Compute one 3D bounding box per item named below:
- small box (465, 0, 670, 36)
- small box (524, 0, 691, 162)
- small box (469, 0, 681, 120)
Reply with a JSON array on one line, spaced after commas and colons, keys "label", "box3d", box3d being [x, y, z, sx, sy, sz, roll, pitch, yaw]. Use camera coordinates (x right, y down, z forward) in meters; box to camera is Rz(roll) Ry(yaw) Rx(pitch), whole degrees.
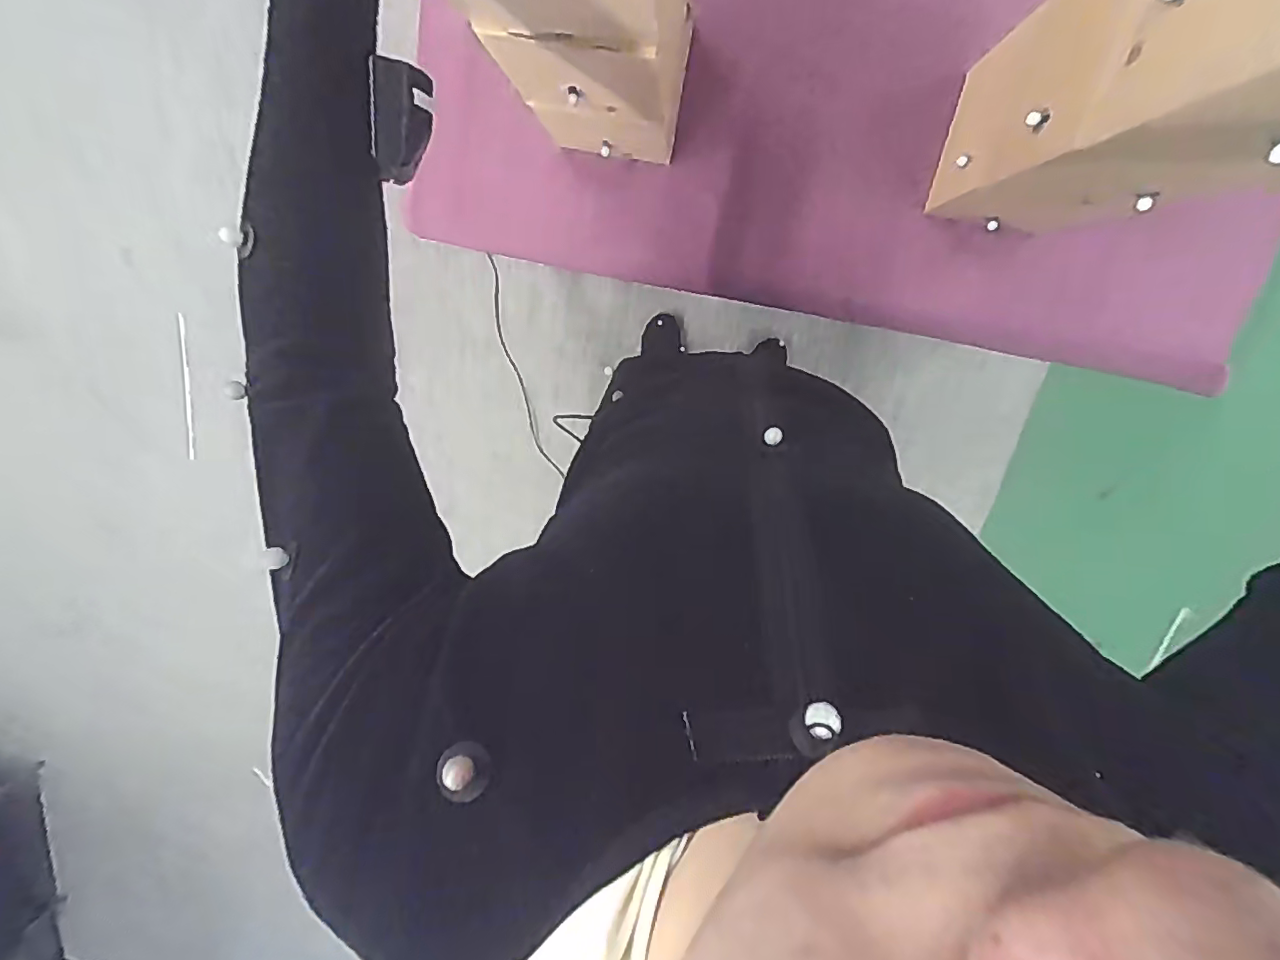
[{"label": "small box", "box3d": [-0.063, -0.438, 0.363, 0.179, 0.176, 0.168, 9, 109, 4]}, {"label": "small box", "box3d": [-0.032, -0.528, 0.674, 0.168, 0.176, 0.179, 12, 107, 3]}, {"label": "small box", "box3d": [-0.048, -0.484, 0.519, 0.168, 0.176, 0.179, 10, 108, 3]}]
